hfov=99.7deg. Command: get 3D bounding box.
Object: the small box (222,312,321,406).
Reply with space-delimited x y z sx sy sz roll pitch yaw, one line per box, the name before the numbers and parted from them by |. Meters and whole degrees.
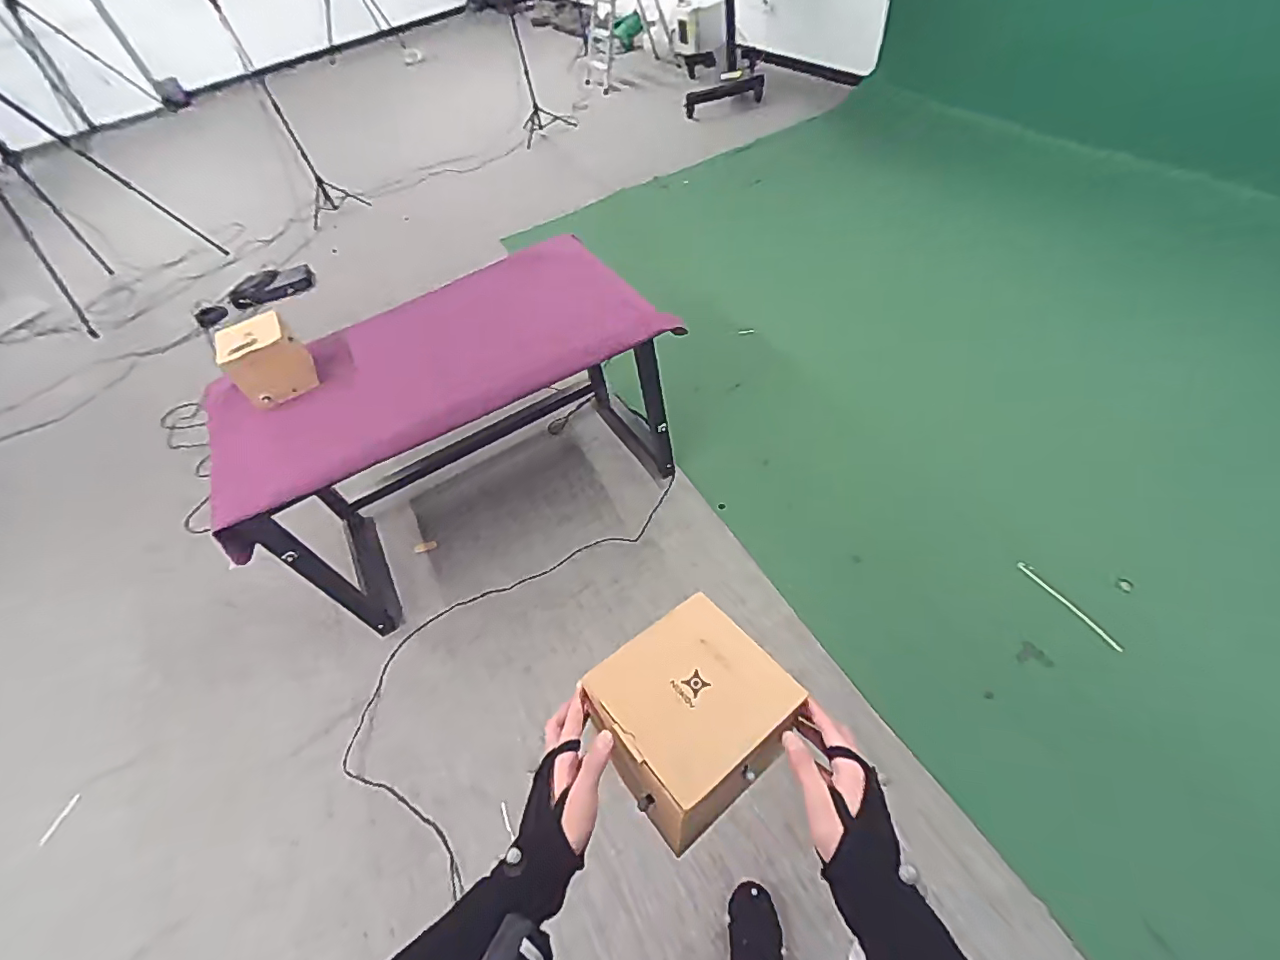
small box | -1.017 -0.328 1.501 0.168 0.176 0.179 -28 52 -12
